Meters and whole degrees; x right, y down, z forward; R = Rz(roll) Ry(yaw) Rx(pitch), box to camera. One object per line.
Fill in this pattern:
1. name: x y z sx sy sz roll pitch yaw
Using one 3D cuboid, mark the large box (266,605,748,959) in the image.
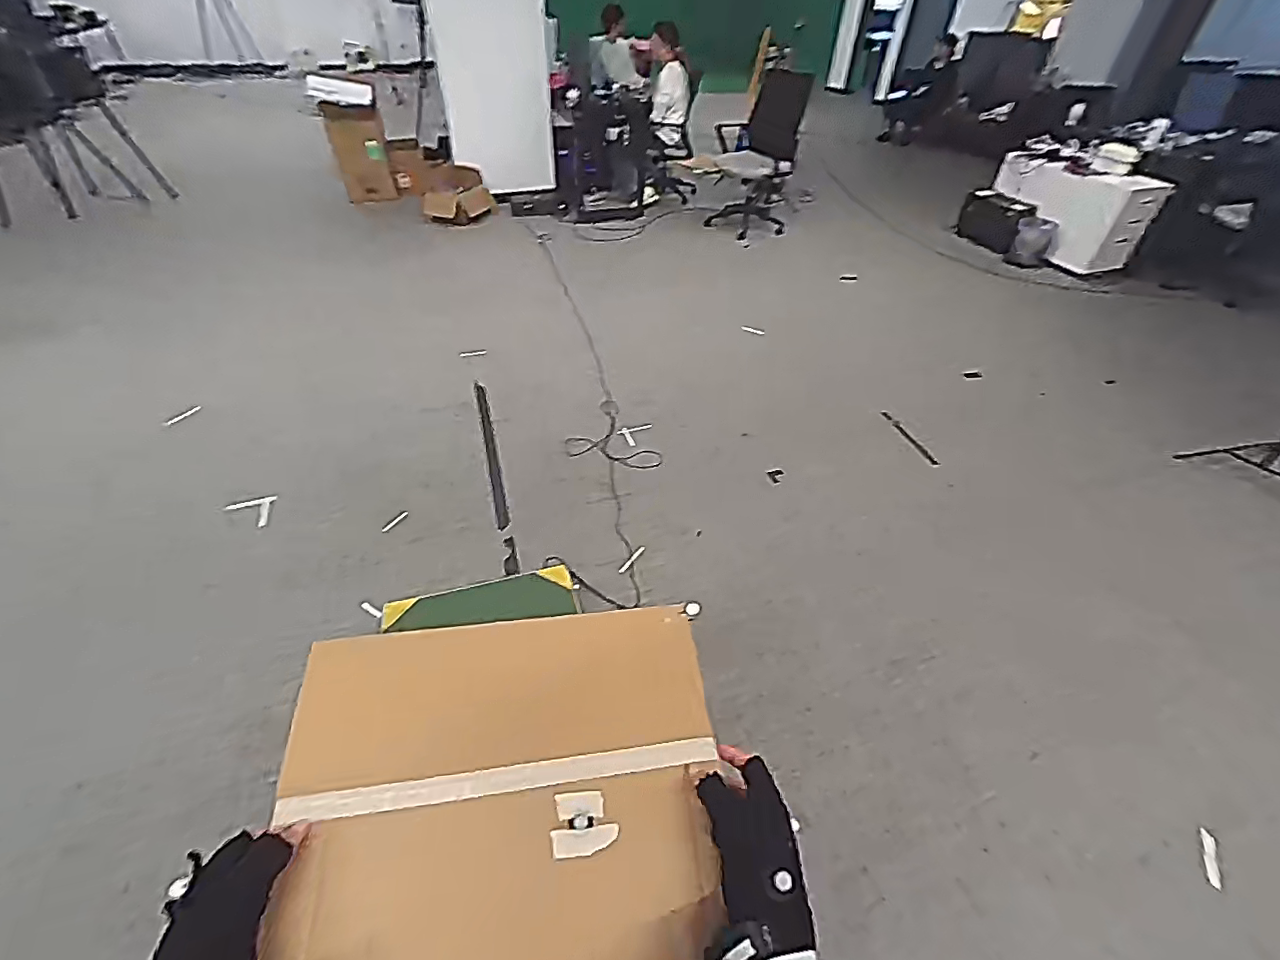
1. large box: -0.135 0.376 0.644 0.408 0.320 0.320 -3 53 -9
